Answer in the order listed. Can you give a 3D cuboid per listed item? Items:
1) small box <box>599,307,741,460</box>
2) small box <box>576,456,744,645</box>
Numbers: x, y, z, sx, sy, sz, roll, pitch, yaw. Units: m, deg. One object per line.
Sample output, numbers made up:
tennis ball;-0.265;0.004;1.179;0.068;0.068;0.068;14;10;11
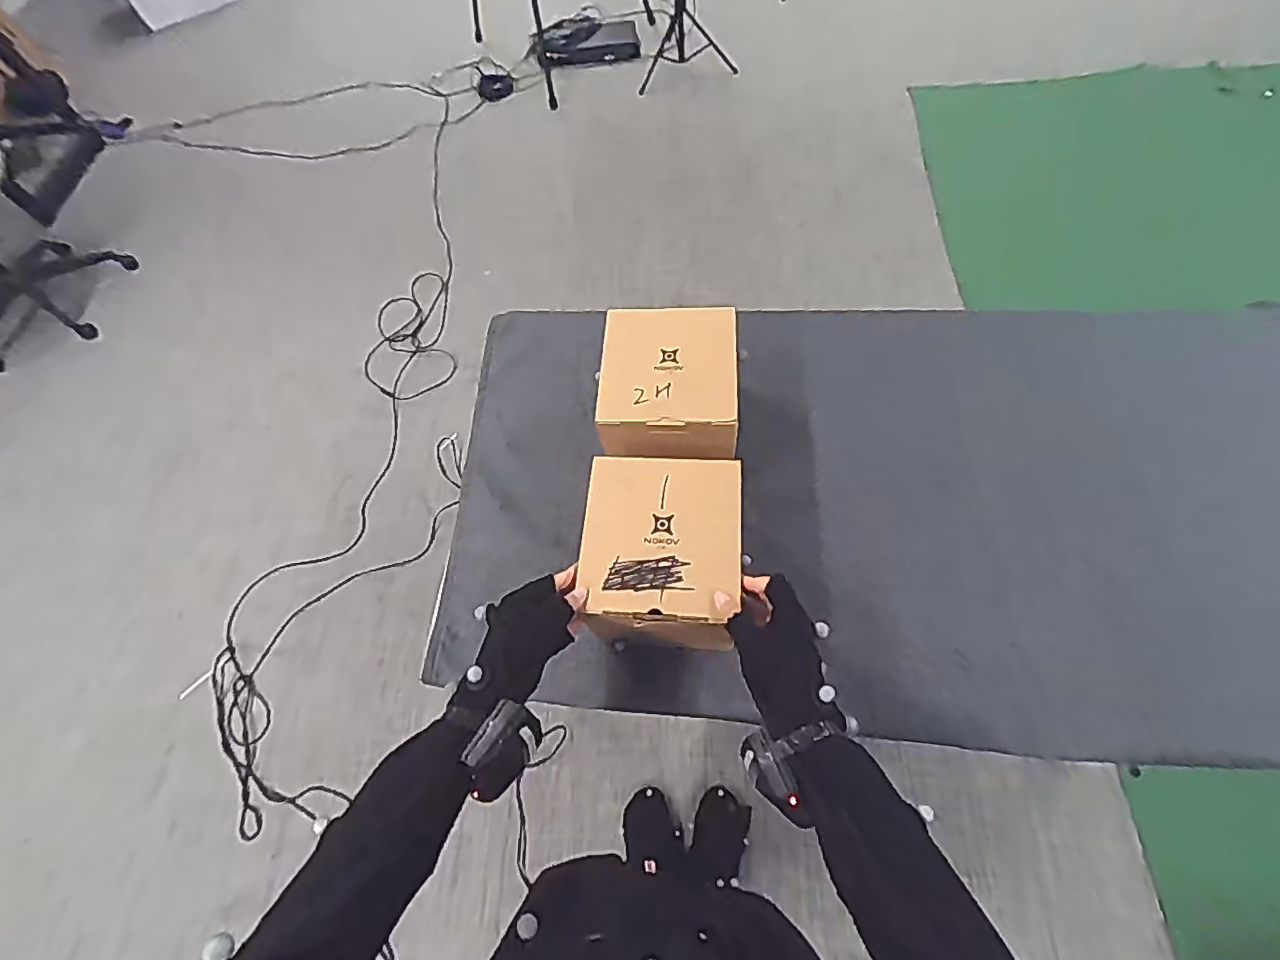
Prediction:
small box;0.045;-0.108;0.726;0.168;0.176;0.179;1;64;7
small box;0.032;0.088;0.630;0.168;0.176;0.179;2;64;7
